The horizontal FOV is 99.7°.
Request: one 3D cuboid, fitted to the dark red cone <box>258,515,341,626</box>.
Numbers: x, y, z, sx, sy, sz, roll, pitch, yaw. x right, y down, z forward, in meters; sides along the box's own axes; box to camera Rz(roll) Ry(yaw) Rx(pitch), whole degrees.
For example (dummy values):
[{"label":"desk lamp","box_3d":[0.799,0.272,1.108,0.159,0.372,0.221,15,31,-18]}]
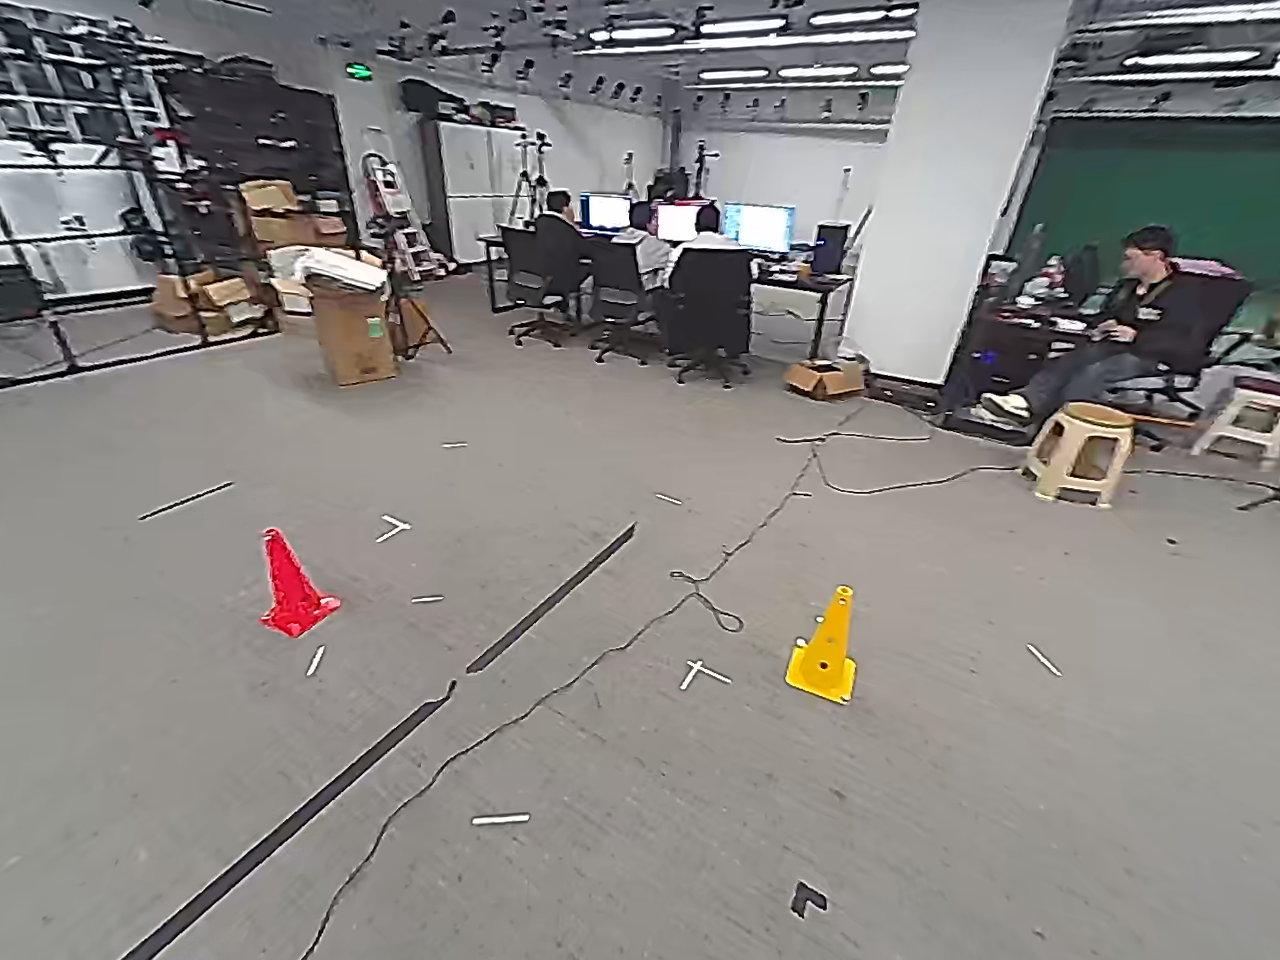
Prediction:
[{"label":"dark red cone","box_3d":[-1.202,0.291,1.845,0.201,0.394,0.202,16,32,20]}]
